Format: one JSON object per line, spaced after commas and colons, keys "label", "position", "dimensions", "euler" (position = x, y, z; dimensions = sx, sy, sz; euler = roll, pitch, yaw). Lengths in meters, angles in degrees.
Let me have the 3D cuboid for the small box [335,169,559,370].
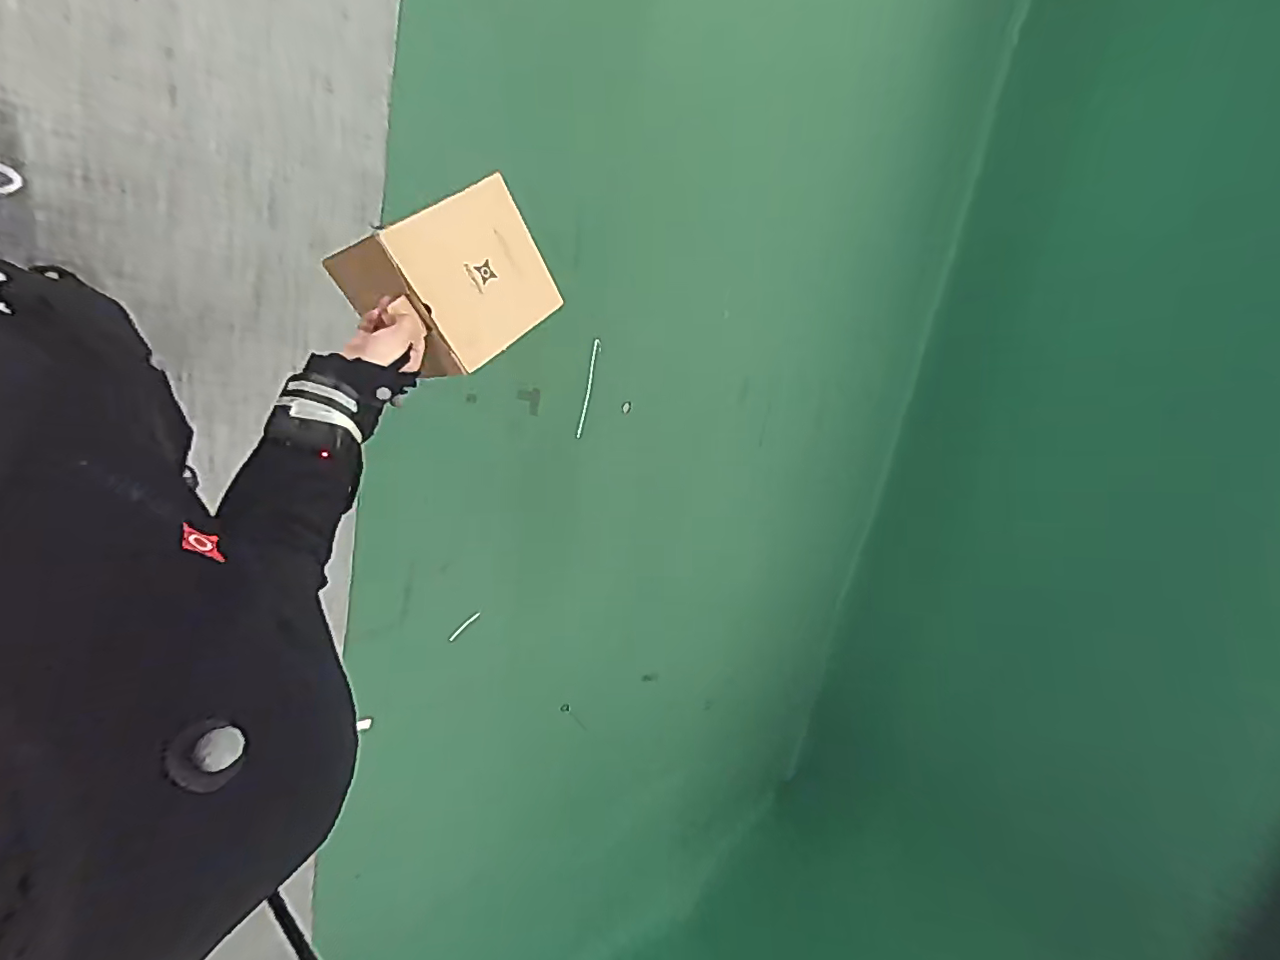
{"label": "small box", "position": [-0.241, -0.248, 0.669], "dimensions": [0.179, 0.176, 0.168], "euler": [-50, 130, -31]}
